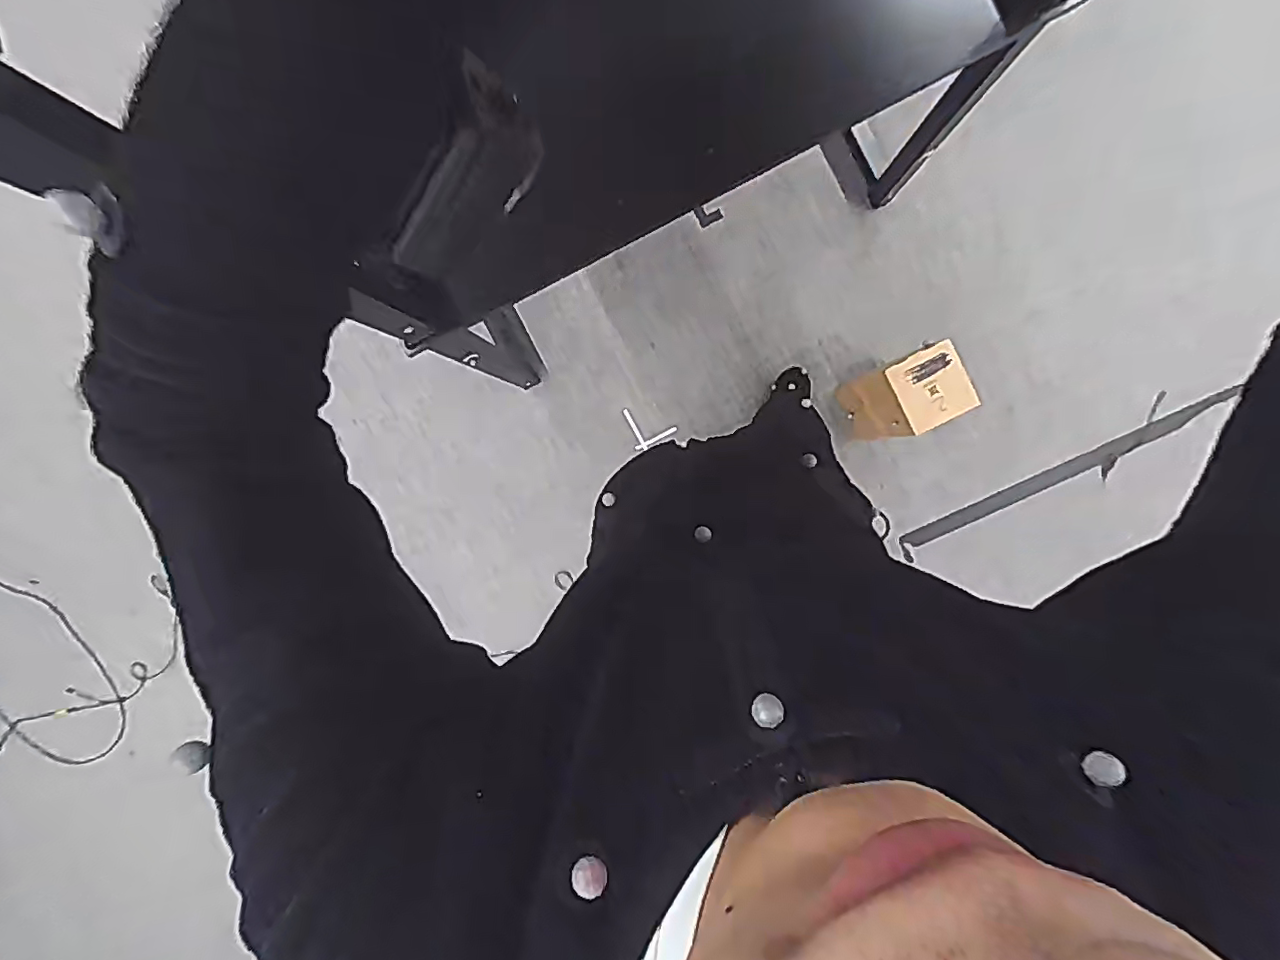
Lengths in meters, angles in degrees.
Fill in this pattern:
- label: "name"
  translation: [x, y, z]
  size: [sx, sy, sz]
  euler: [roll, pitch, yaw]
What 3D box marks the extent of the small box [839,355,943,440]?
- label: "small box"
  translation: [0.685, -0.222, 1.492]
  size: [0.179, 0.176, 0.168]
  euler: [-28, 91, 5]
